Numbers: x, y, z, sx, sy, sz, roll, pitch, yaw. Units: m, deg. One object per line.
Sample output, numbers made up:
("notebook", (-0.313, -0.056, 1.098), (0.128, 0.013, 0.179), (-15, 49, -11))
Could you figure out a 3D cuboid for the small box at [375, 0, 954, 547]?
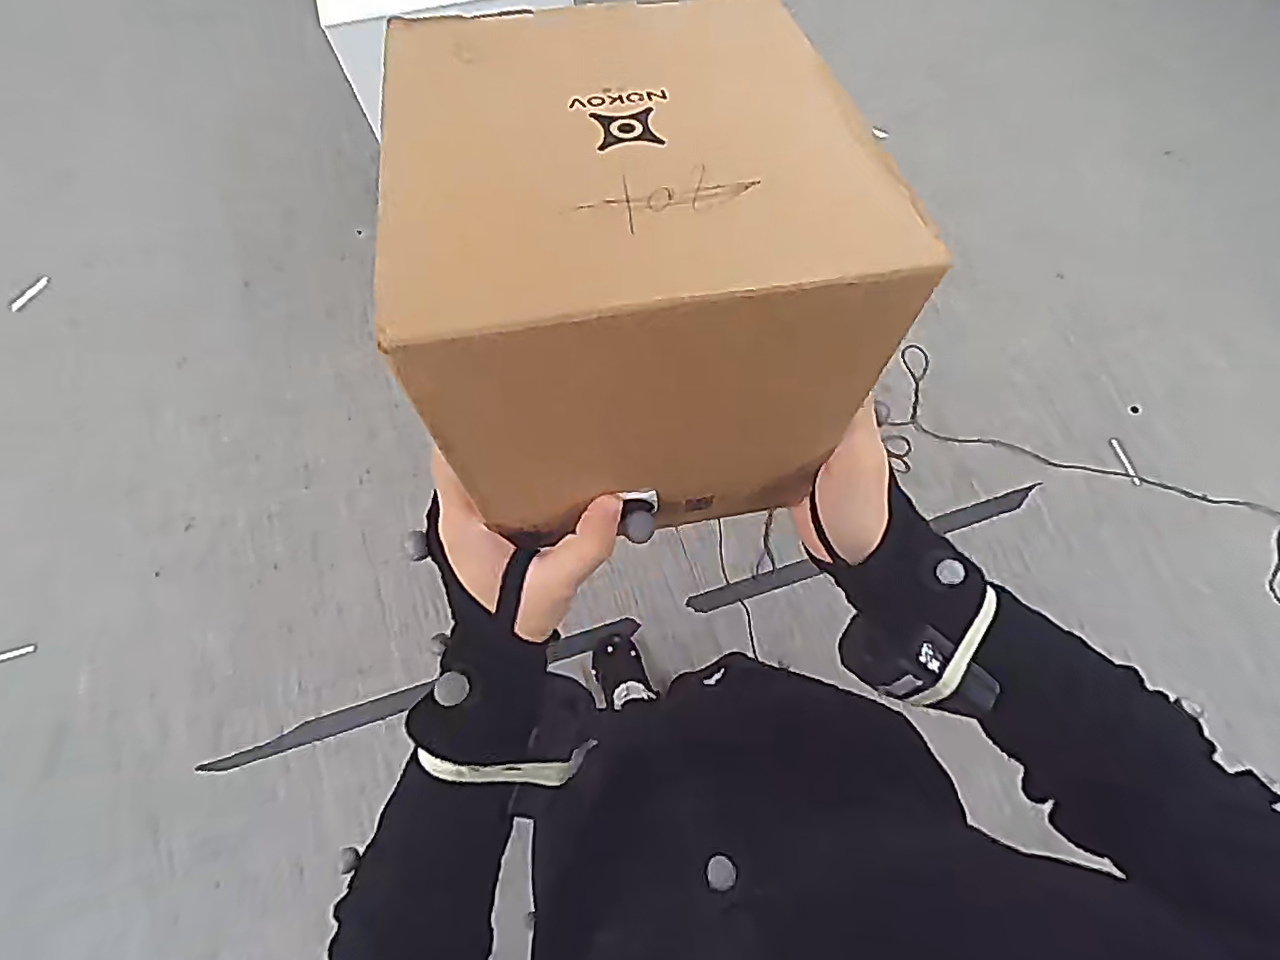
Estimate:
("small box", (-0.005, -0.088, 0.257), (0.168, 0.176, 0.179), (-10, 64, -5))
